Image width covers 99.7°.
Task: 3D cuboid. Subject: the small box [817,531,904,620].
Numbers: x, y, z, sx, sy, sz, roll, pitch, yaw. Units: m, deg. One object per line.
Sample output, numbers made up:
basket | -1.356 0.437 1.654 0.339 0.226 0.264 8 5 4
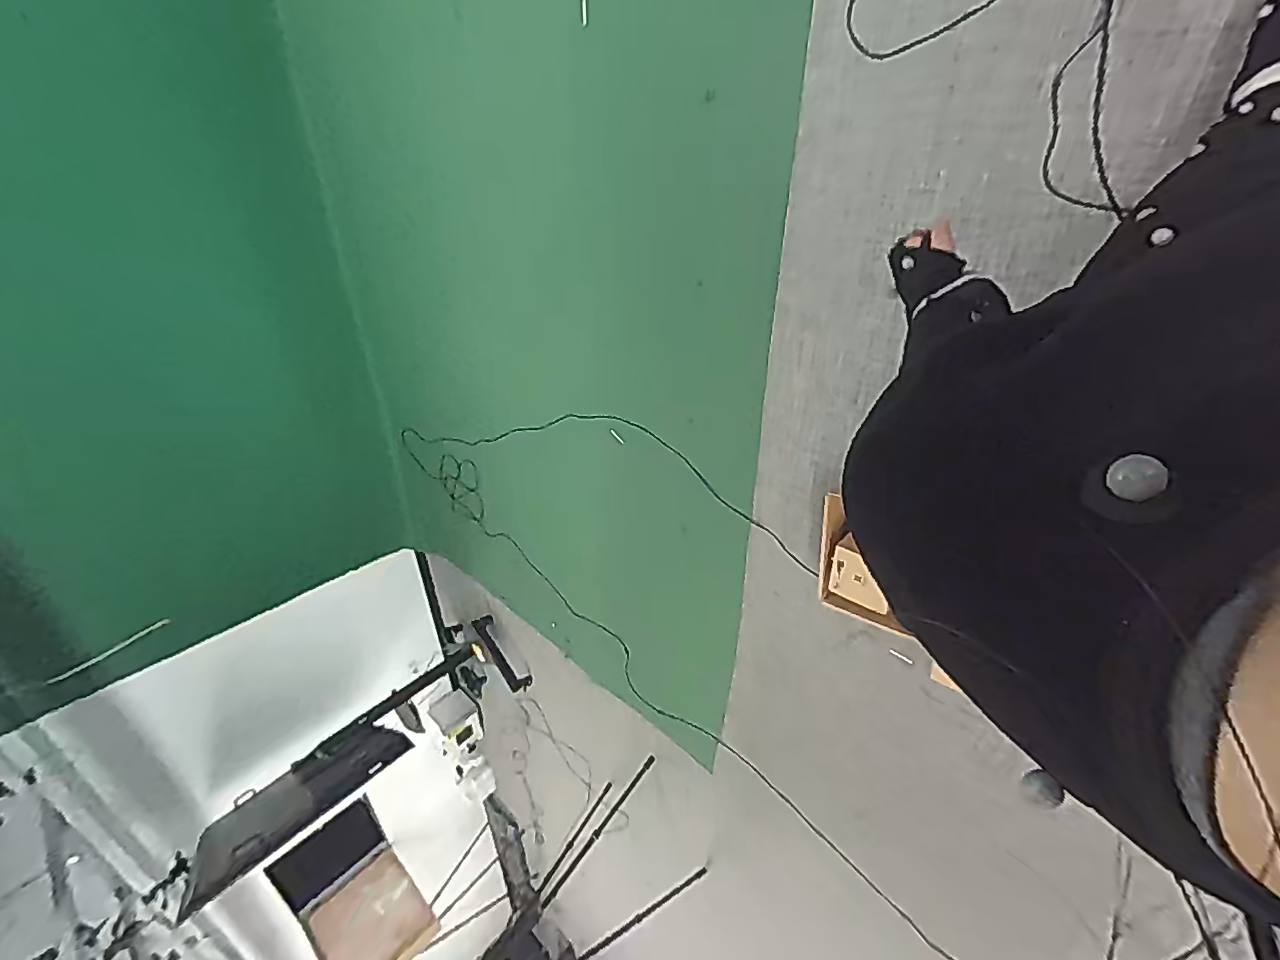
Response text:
small box | 0.645 0.270 1.579 0.179 0.176 0.168 22 124 35
